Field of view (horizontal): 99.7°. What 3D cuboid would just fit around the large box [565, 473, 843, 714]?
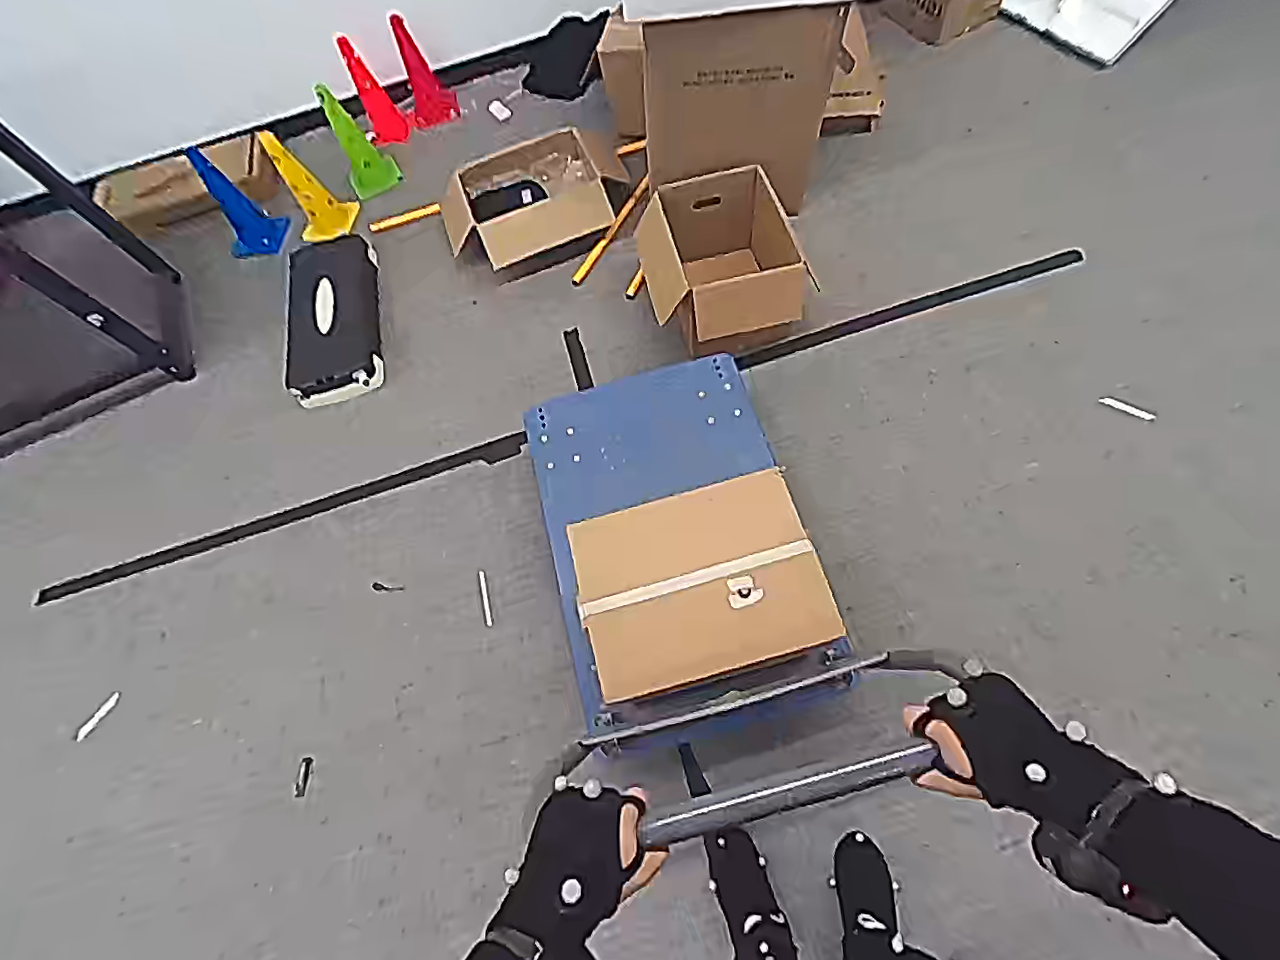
[{"bbox_3d":[0.106,0.234,1.044,0.408,0.320,0.320,-16,68,-2],"label":"large box"}]
